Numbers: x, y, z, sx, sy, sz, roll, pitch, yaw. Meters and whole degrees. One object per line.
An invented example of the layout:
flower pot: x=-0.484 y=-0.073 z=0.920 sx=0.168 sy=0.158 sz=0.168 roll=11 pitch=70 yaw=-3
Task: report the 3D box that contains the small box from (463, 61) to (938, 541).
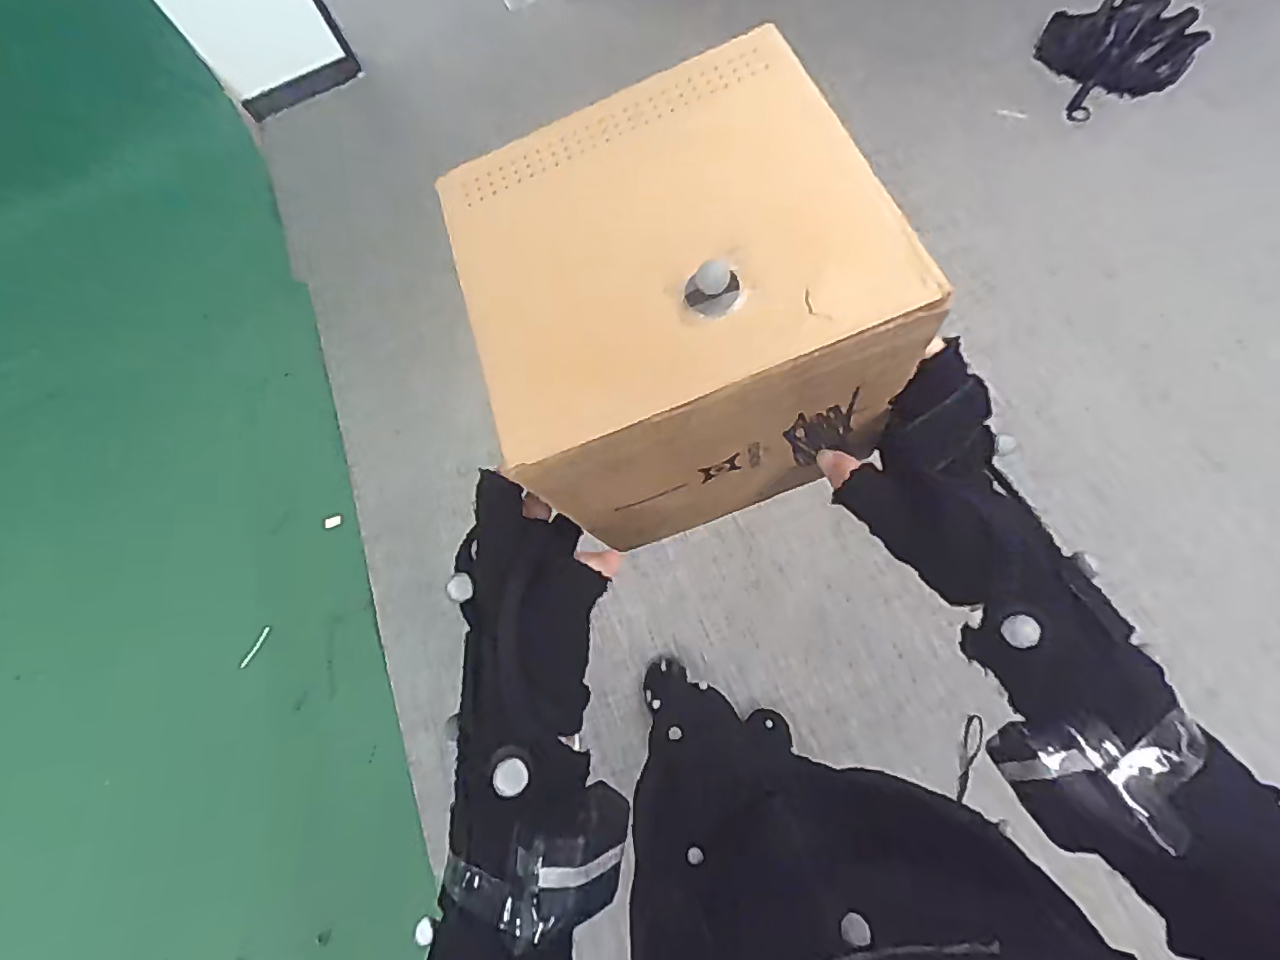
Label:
small box: x=0.024 y=-0.085 z=0.311 sx=0.179 sy=0.168 sz=0.176 roll=-20 pitch=68 yaw=6
